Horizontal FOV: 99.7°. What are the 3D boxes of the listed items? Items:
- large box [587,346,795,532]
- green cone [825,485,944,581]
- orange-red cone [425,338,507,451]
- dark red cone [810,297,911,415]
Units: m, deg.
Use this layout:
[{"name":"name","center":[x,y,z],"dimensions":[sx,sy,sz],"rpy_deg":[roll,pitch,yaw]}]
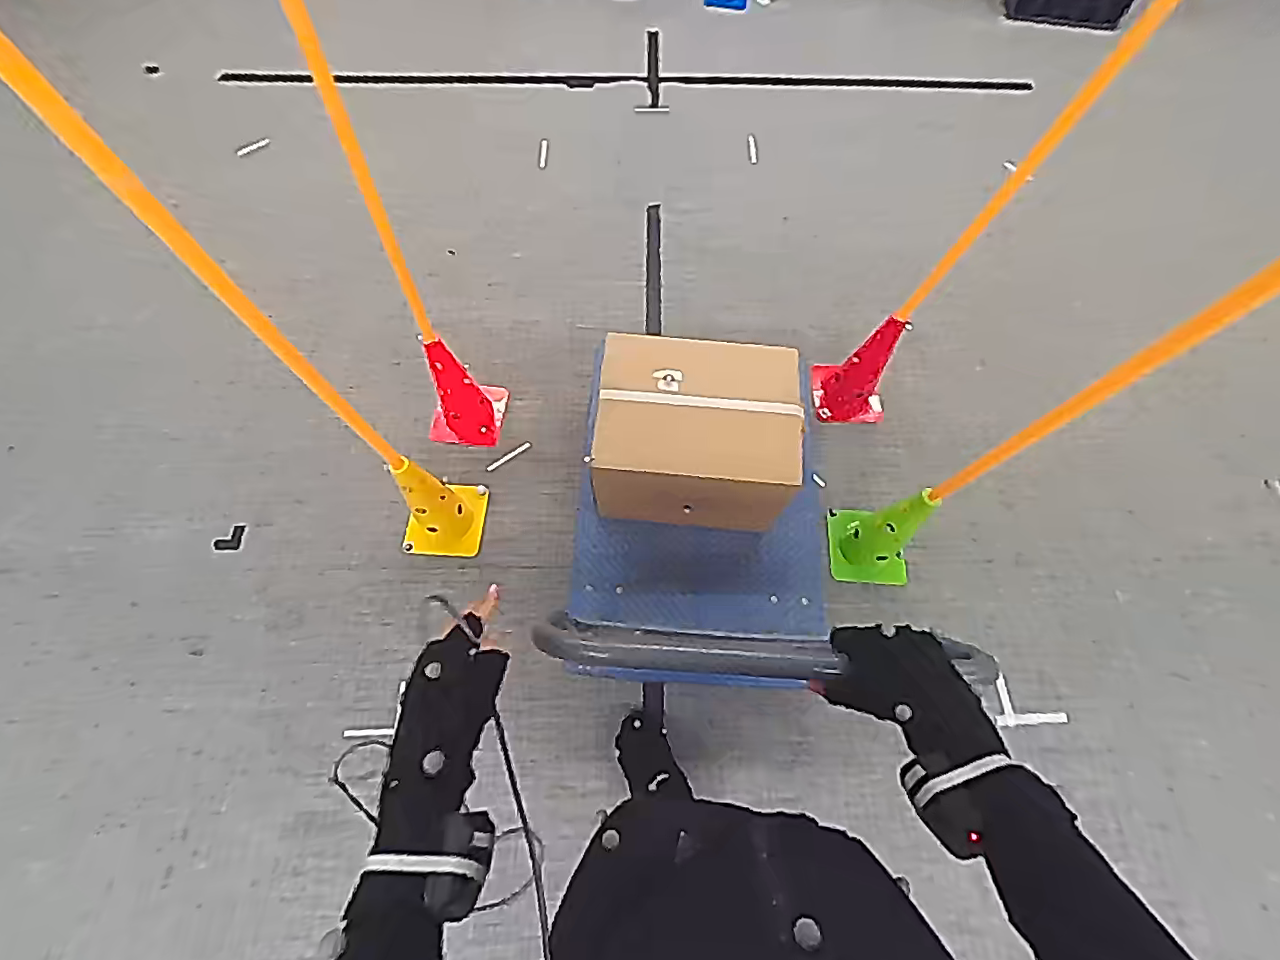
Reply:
[{"name":"large box","center":[0.108,-0.078,1.222],"dimensions":[0.408,0.320,0.320],"rpy_deg":[4,67,2]},{"name":"green cone","center":[0.612,0.104,1.305],"dimensions":[0.202,0.368,0.200],"rpy_deg":[4,66,-1]},{"name":"orange-red cone","center":[-0.502,-0.254,1.446],"dimensions":[0.198,0.360,0.199],"rpy_deg":[7,65,1]},{"name":"dark red cone","center":[0.628,-0.348,1.483],"dimensions":[0.201,0.394,0.202],"rpy_deg":[0,67,-3]}]
